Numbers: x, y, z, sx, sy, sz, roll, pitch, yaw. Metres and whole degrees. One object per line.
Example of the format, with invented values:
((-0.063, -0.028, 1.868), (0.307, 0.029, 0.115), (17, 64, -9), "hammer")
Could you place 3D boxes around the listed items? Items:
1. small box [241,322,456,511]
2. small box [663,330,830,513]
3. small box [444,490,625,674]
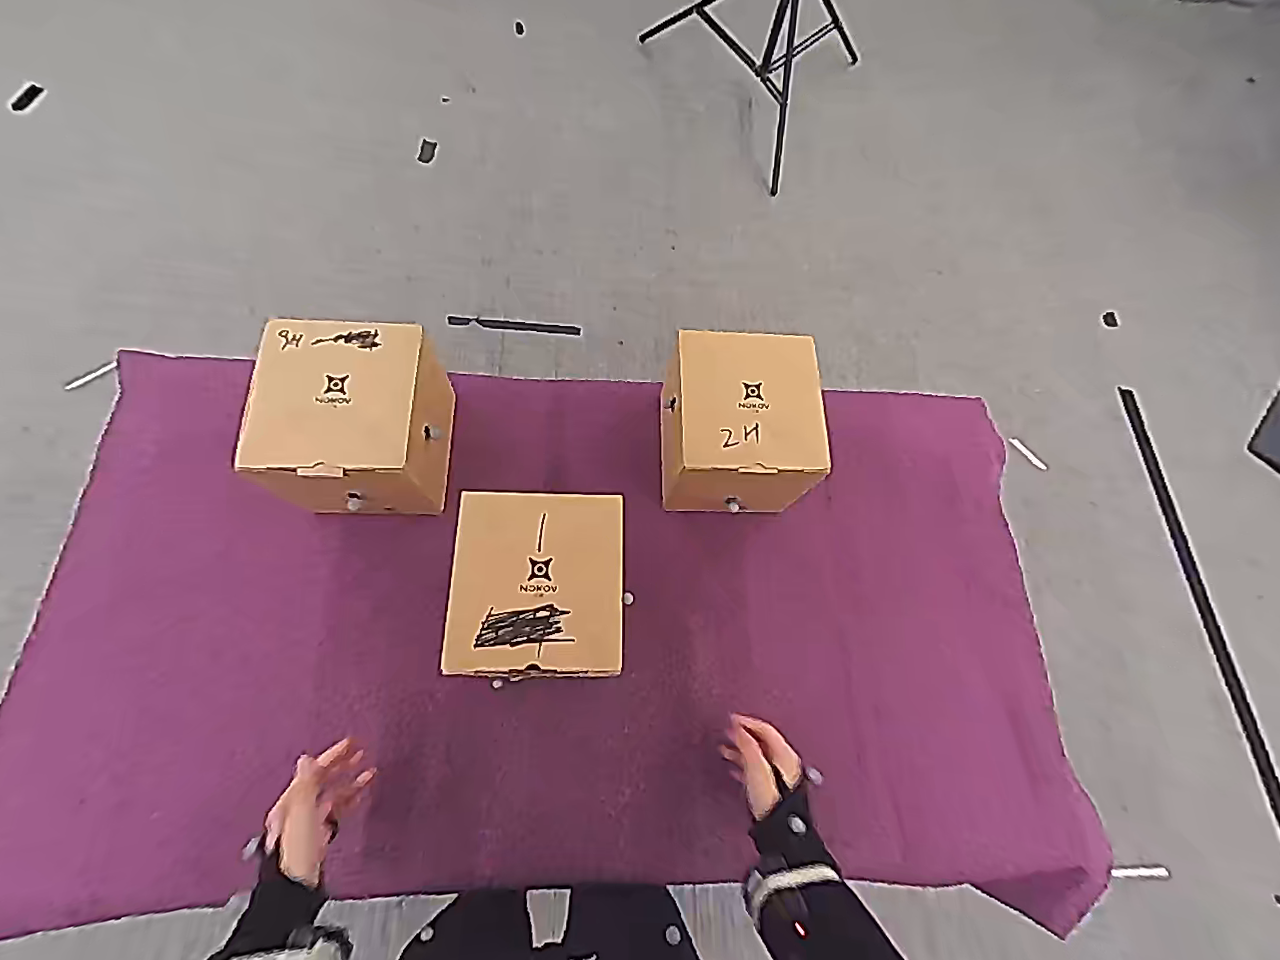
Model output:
((-0.325, -0.064, 0.645), (0.168, 0.176, 0.179), (1, 72, -6), "small box")
((0.121, -0.067, 0.690), (0.168, 0.176, 0.179), (1, 71, -4), "small box")
((-0.104, 0.122, 0.600), (0.168, 0.176, 0.179), (2, 69, -5), "small box")
